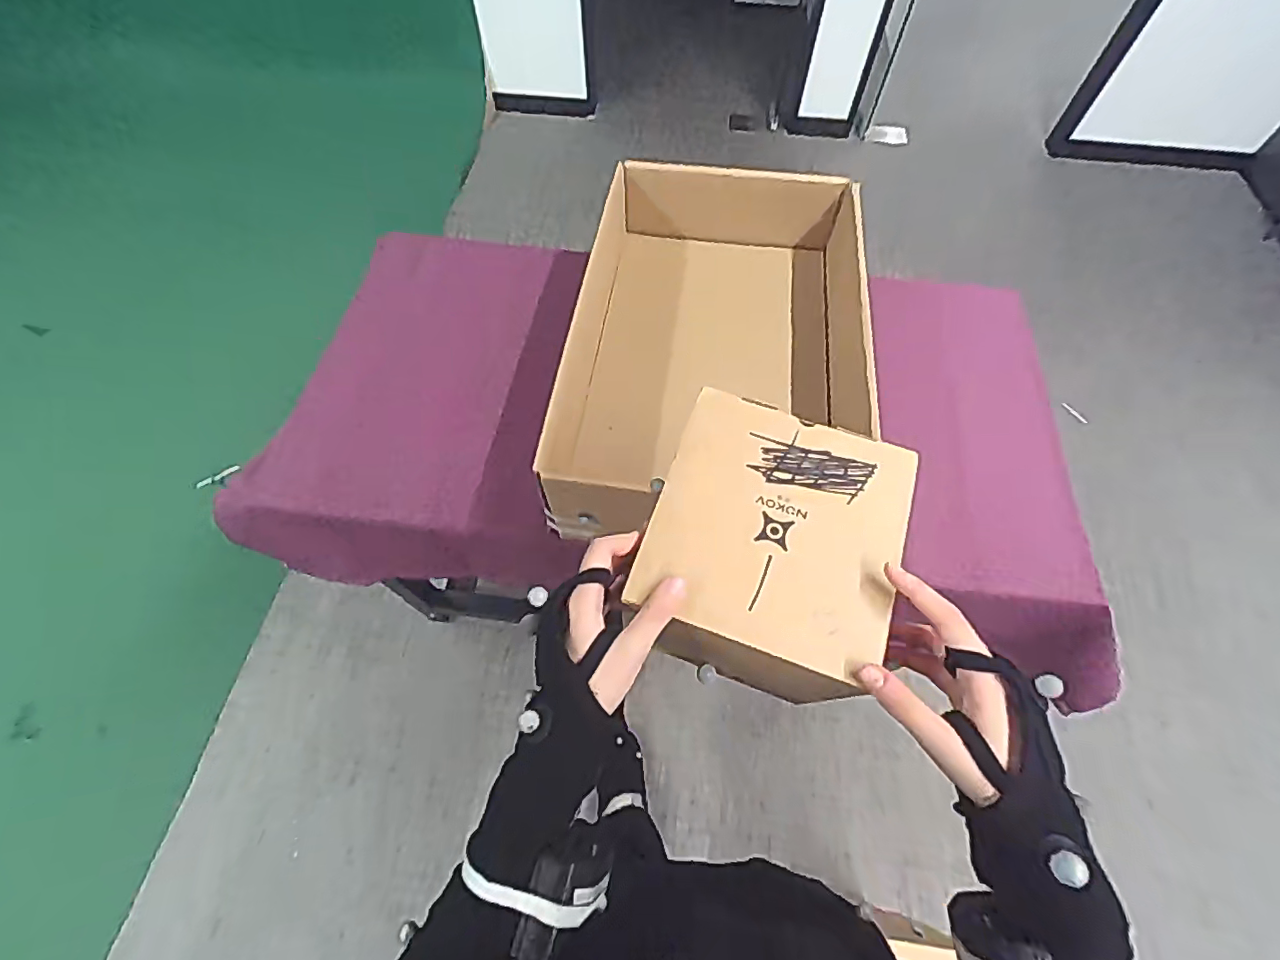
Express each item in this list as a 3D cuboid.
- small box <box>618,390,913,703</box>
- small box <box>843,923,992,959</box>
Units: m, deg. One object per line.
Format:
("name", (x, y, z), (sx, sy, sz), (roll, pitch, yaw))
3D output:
("small box", (0.088, 0.063, 0.441), (0.168, 0.176, 0.179), (21, 69, 8))
("small box", (0.397, 0.761, 0.767), (0.168, 0.176, 0.179), (8, 60, 4))
